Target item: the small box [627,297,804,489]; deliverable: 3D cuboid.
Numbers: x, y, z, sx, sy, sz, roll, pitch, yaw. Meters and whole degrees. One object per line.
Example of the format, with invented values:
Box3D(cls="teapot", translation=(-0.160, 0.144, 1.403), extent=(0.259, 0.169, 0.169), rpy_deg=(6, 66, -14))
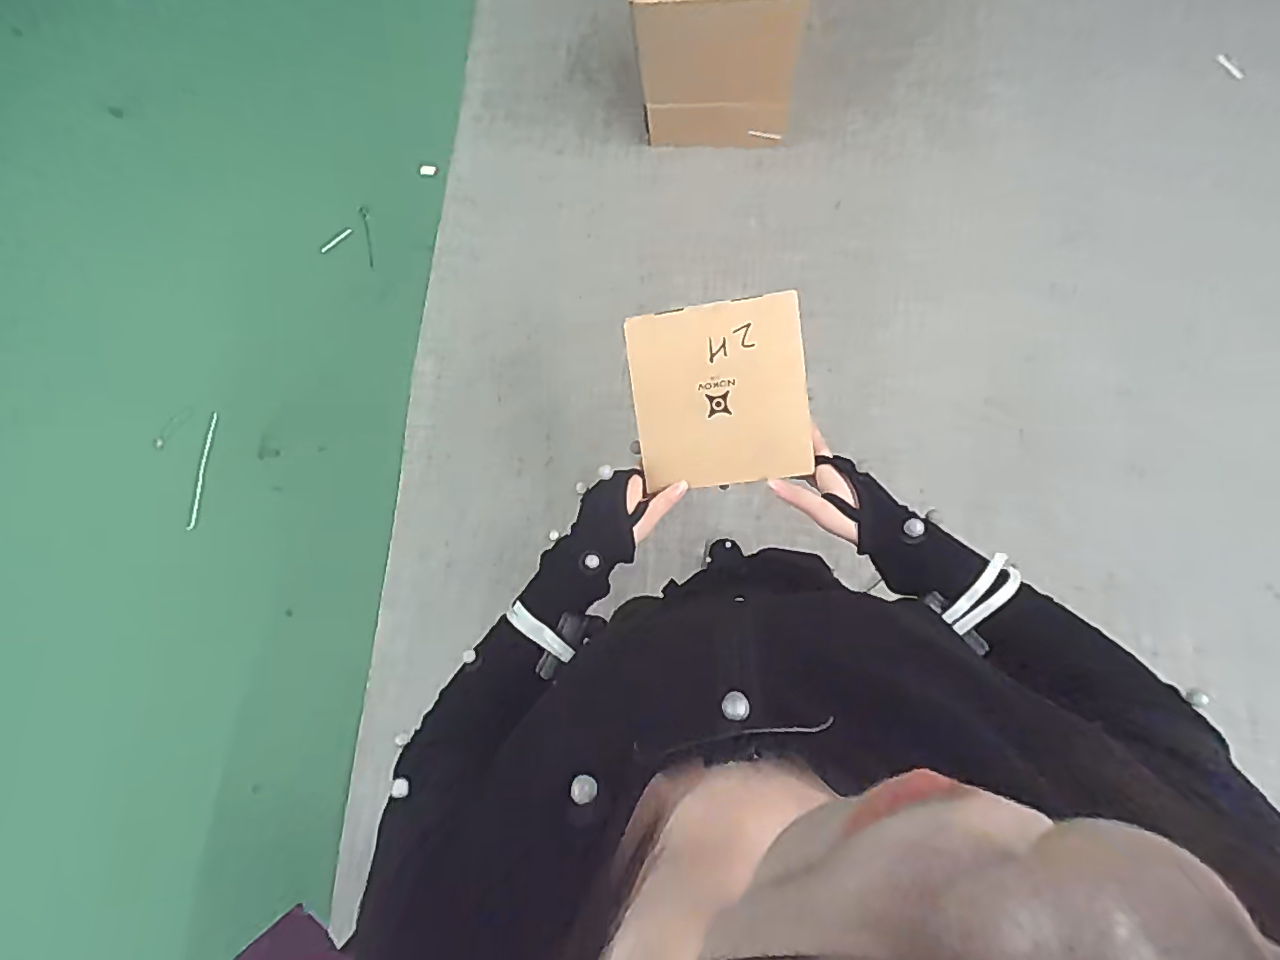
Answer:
Box3D(cls="small box", translation=(0.086, -0.093, 0.609), extent=(0.168, 0.176, 0.179), rpy_deg=(-5, 96, 9))
